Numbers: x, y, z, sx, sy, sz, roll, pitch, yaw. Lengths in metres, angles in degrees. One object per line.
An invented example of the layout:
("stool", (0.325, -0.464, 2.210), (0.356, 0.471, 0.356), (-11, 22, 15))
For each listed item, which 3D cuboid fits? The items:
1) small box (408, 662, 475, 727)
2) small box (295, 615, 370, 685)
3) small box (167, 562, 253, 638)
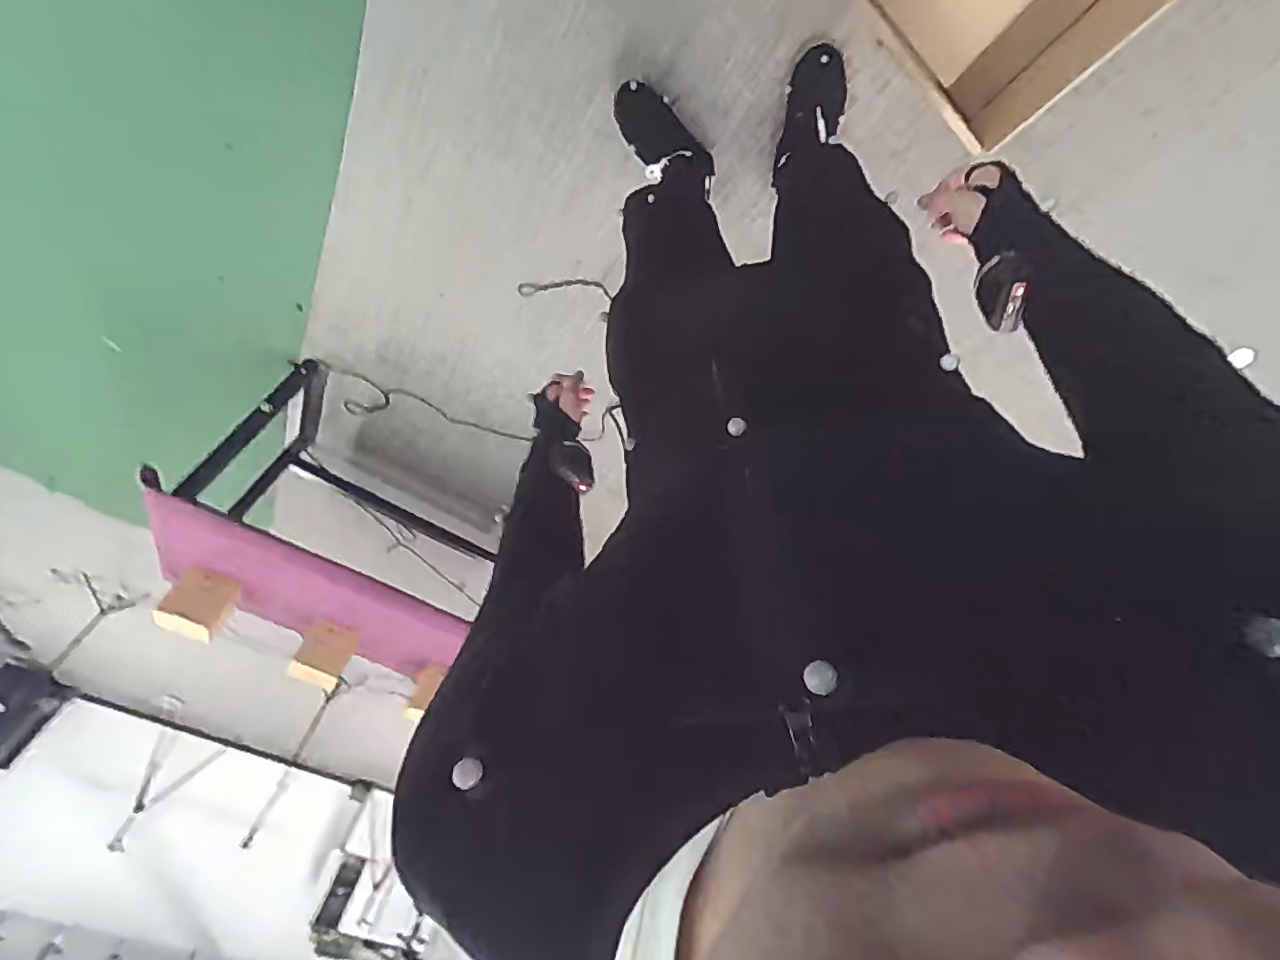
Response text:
("small box", (-0.752, 0.815, 2.063), (0.168, 0.176, 0.179), (30, 137, -15))
("small box", (-1.105, 0.610, 1.949), (0.168, 0.176, 0.179), (31, 137, -16))
("small box", (-1.441, 0.401, 1.819), (0.168, 0.176, 0.179), (31, 136, -17))
